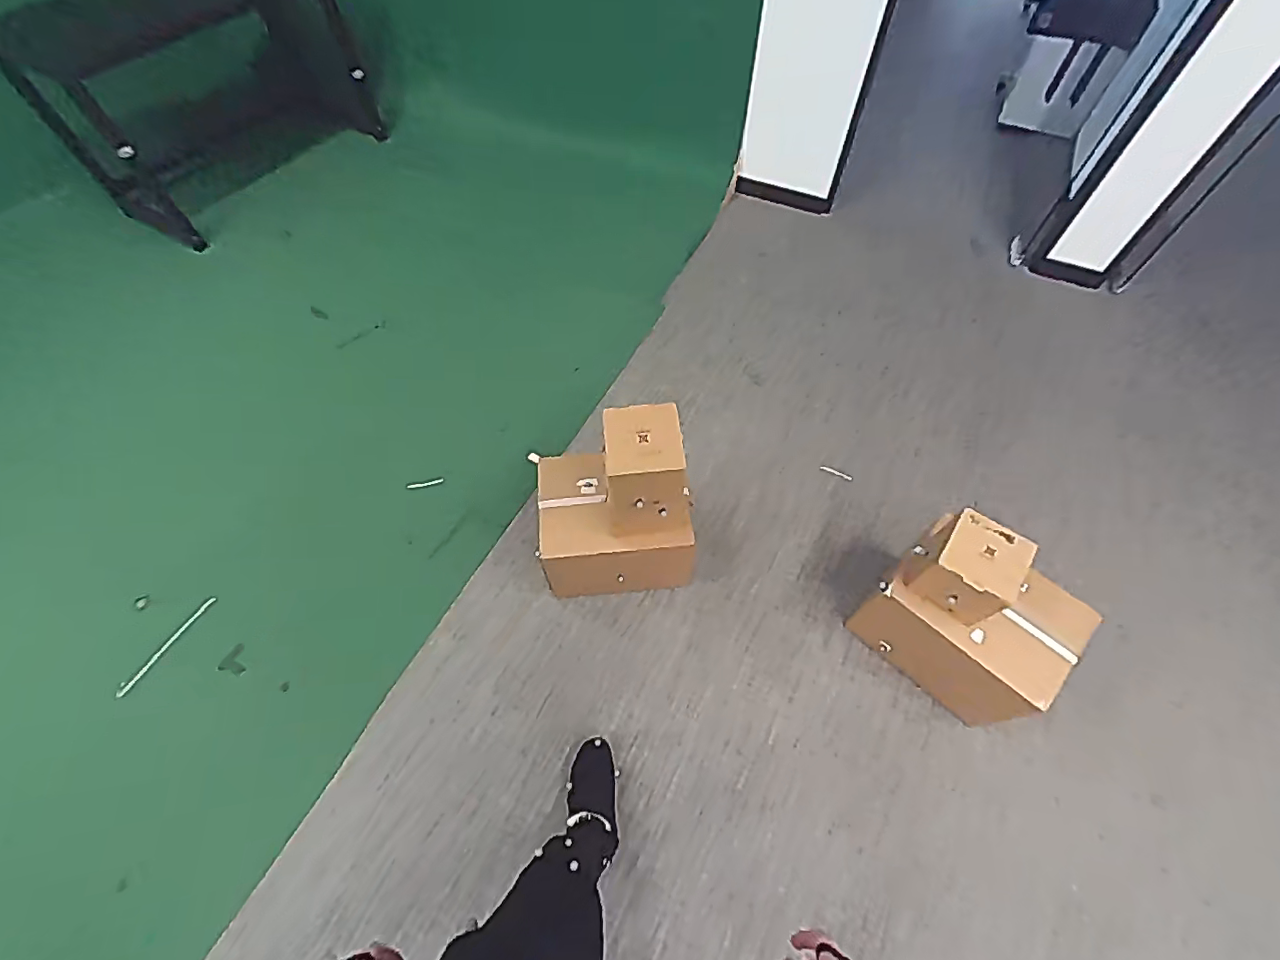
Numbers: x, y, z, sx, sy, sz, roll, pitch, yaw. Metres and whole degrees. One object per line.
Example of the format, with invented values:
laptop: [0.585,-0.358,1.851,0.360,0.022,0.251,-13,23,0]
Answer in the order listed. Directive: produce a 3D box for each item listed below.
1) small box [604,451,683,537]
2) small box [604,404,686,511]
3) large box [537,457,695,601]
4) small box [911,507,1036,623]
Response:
small box: [0.005,0.030,1.359,0.179,0.176,0.168,-6,59,-3]
small box: [0.007,-0.048,1.216,0.168,0.176,0.179,-5,60,-2]
large box: [-0.070,0.140,1.581,0.408,0.320,0.320,-6,57,-3]
small box: [0.760,0.203,1.252,0.168,0.176,0.179,33,66,18]
